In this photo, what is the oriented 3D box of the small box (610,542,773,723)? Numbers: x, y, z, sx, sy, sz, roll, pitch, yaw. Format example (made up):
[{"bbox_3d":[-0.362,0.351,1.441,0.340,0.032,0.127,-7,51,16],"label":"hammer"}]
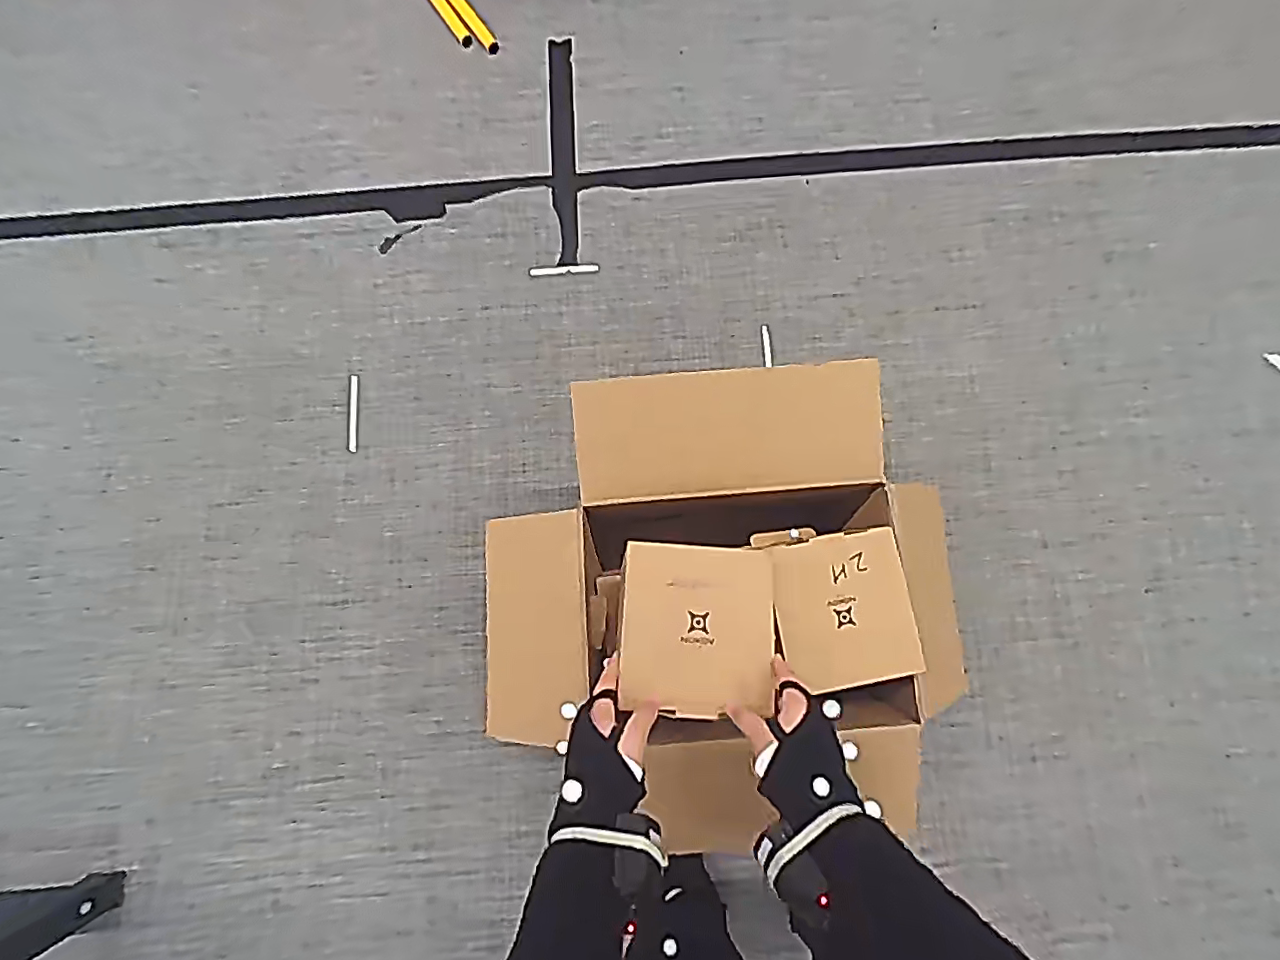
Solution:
[{"bbox_3d":[0.053,0.182,0.645,0.168,0.176,0.179,5,70,-4],"label":"small box"}]

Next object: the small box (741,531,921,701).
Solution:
[{"bbox_3d":[0.231,0.168,0.715,0.168,0.176,0.179,-9,82,-5],"label":"small box"}]
